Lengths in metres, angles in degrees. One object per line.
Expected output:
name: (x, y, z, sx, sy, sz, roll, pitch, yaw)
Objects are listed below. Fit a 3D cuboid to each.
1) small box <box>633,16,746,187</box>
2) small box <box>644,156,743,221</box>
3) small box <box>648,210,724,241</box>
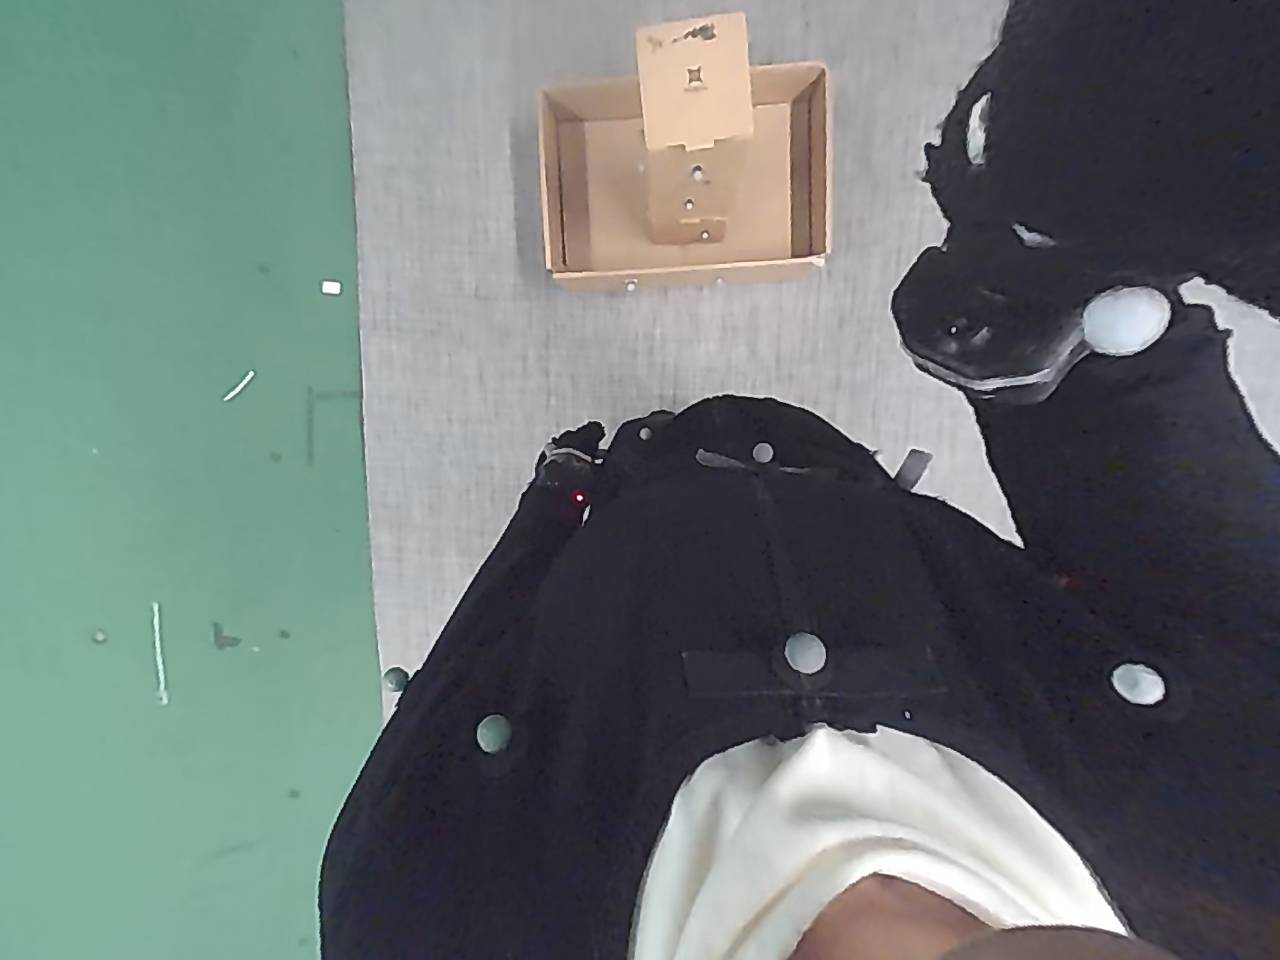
small box: (0.082, -0.607, 0.896, 0.168, 0.176, 0.179, -5, 98, 4)
small box: (0.096, -0.626, 1.058, 0.179, 0.176, 0.168, -6, 98, 3)
small box: (0.103, -0.650, 1.219, 0.168, 0.176, 0.179, -1, 96, 3)
